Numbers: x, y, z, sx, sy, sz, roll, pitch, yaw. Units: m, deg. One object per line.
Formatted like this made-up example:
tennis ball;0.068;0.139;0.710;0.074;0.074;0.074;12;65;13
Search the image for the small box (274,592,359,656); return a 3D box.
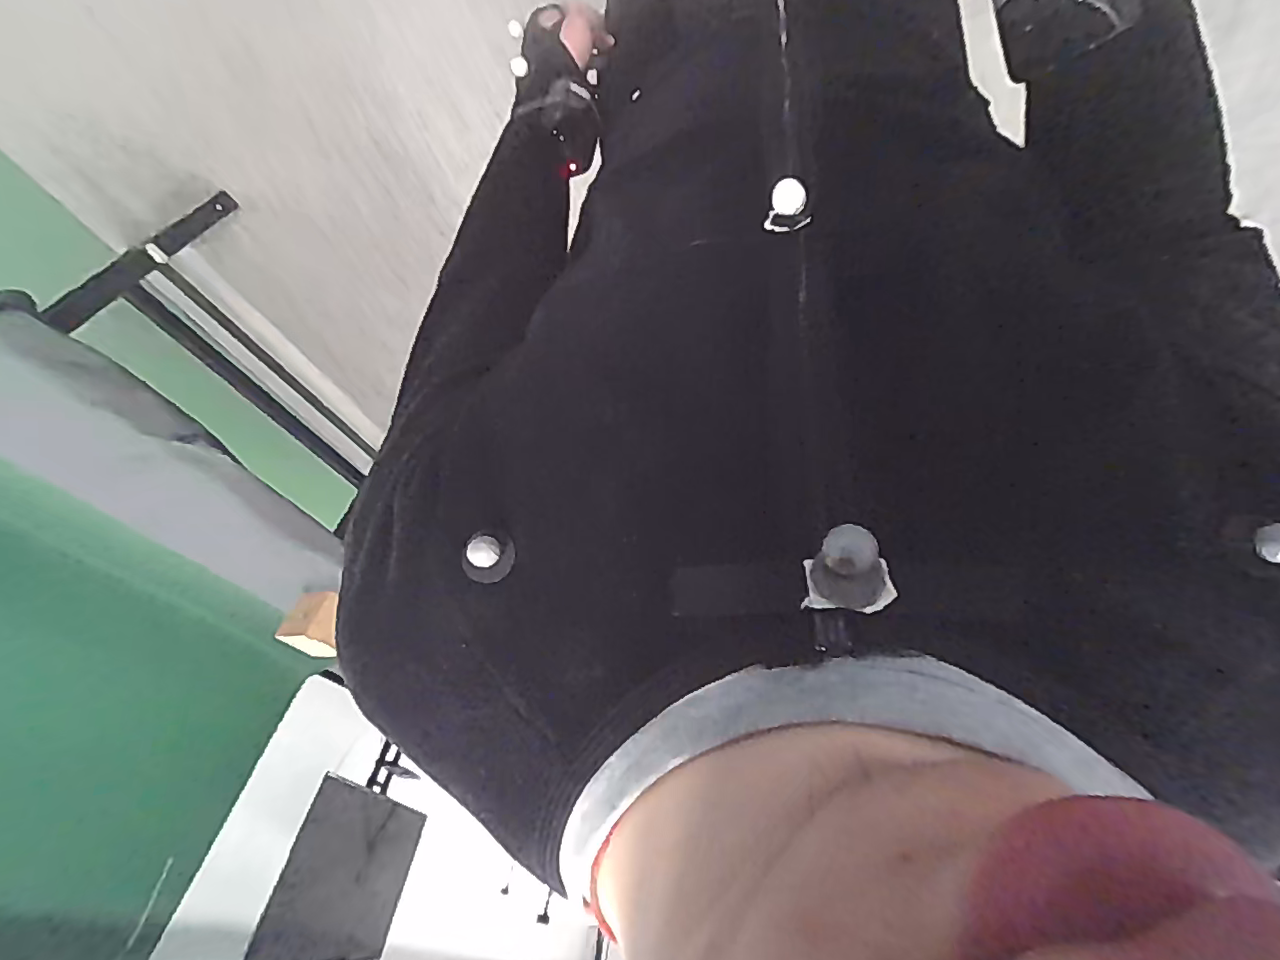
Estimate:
small box;-1.130;0.507;1.910;0.179;0.176;0.168;-11;136;25
